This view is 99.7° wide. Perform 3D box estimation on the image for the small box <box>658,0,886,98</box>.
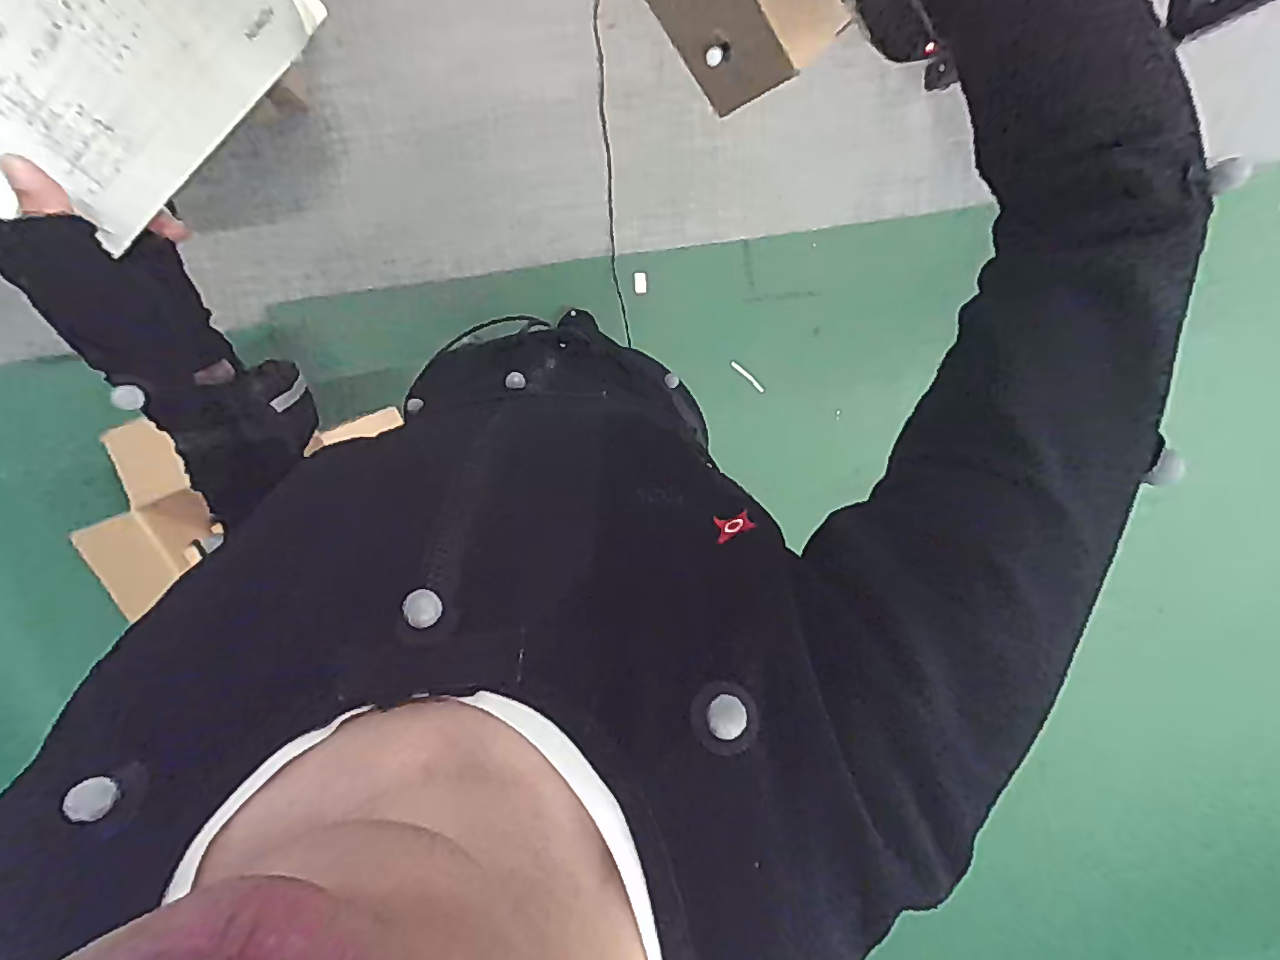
[{"bbox_3d":[0.102,-0.411,0.383,0.168,0.176,0.179,-40,116,8],"label":"small box"}]
